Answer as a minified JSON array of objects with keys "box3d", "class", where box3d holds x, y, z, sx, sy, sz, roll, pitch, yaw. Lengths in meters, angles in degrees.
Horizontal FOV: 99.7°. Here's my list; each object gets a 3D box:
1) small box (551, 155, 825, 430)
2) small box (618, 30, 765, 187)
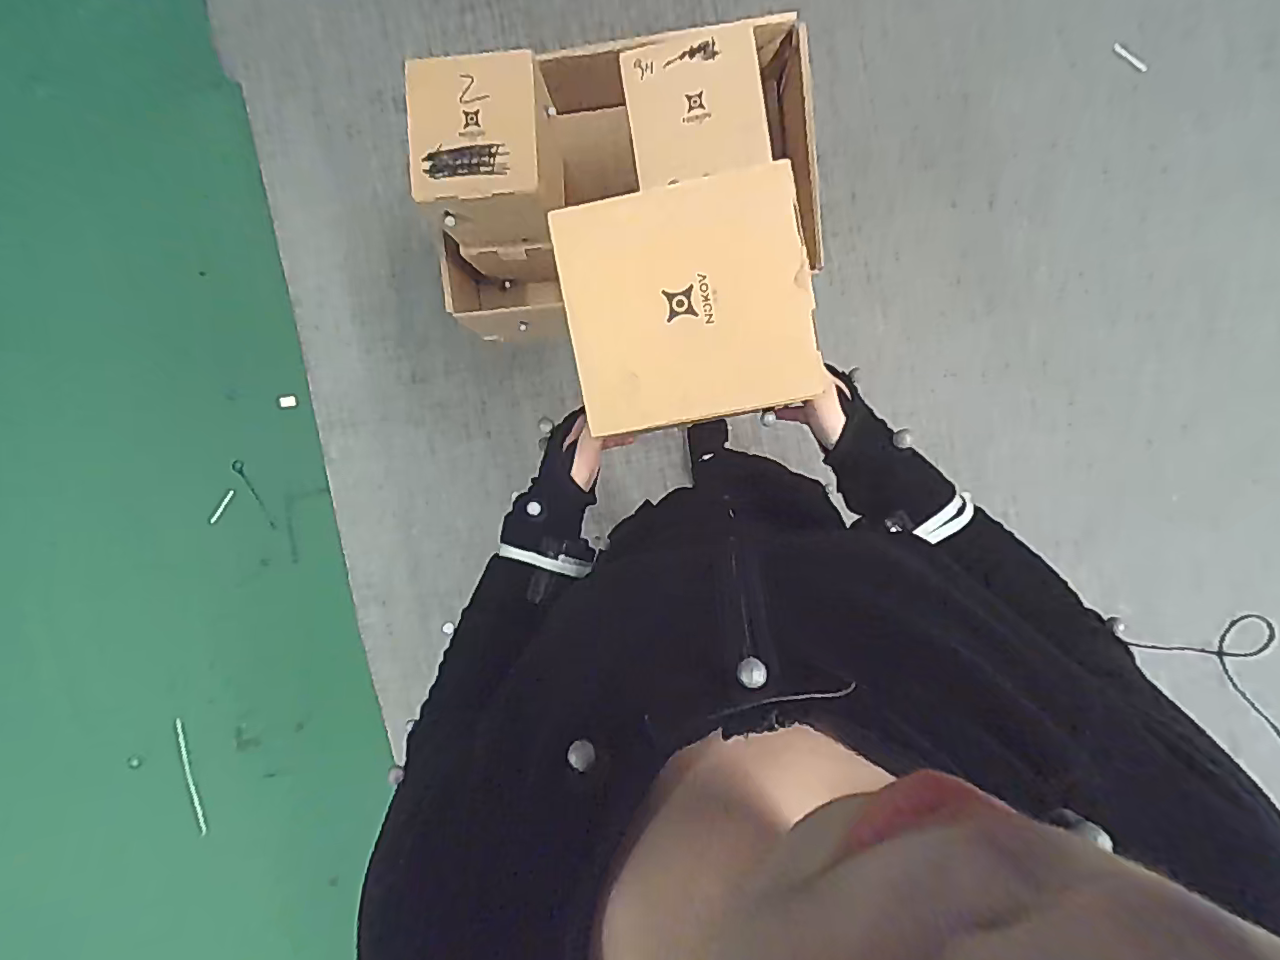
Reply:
[{"box3d":[0.039,-0.138,0.466,0.179,0.176,0.168,-11,94,4],"class":"small box"},{"box3d":[0.072,-0.451,0.741,0.168,0.176,0.179,-8,94,5],"class":"small box"}]
